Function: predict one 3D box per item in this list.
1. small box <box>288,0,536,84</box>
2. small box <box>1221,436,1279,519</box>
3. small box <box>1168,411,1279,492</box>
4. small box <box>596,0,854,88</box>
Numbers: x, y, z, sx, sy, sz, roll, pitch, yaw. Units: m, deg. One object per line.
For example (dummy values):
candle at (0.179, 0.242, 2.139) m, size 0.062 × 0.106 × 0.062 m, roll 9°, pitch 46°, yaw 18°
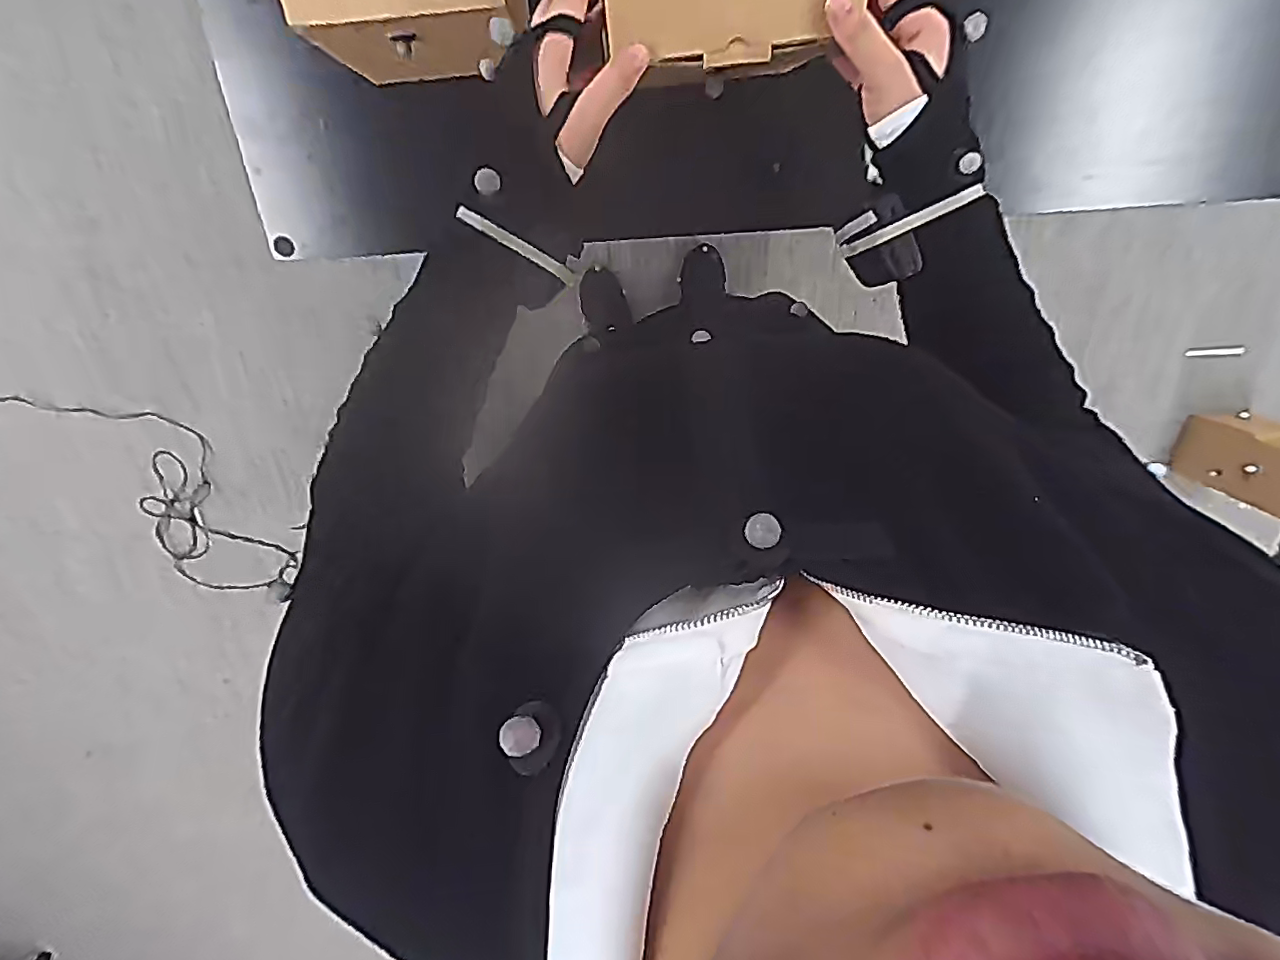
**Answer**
small box at (-0.202, -0.477, 0.480) m, size 0.179 × 0.176 × 0.168 m, roll -6°, pitch 114°, yaw 0°
small box at (1.627, -0.009, 1.334) m, size 0.179 × 0.176 × 0.168 m, roll -2°, pitch 113°, yaw 1°
small box at (1.619, -0.082, 1.479) m, size 0.168 × 0.176 × 0.179 m, roll -2°, pitch 114°, yaw 0°
small box at (0.048, -0.393, 0.383) m, size 0.168 × 0.176 × 0.179 m, roll -7°, pitch 123°, yaw 1°
